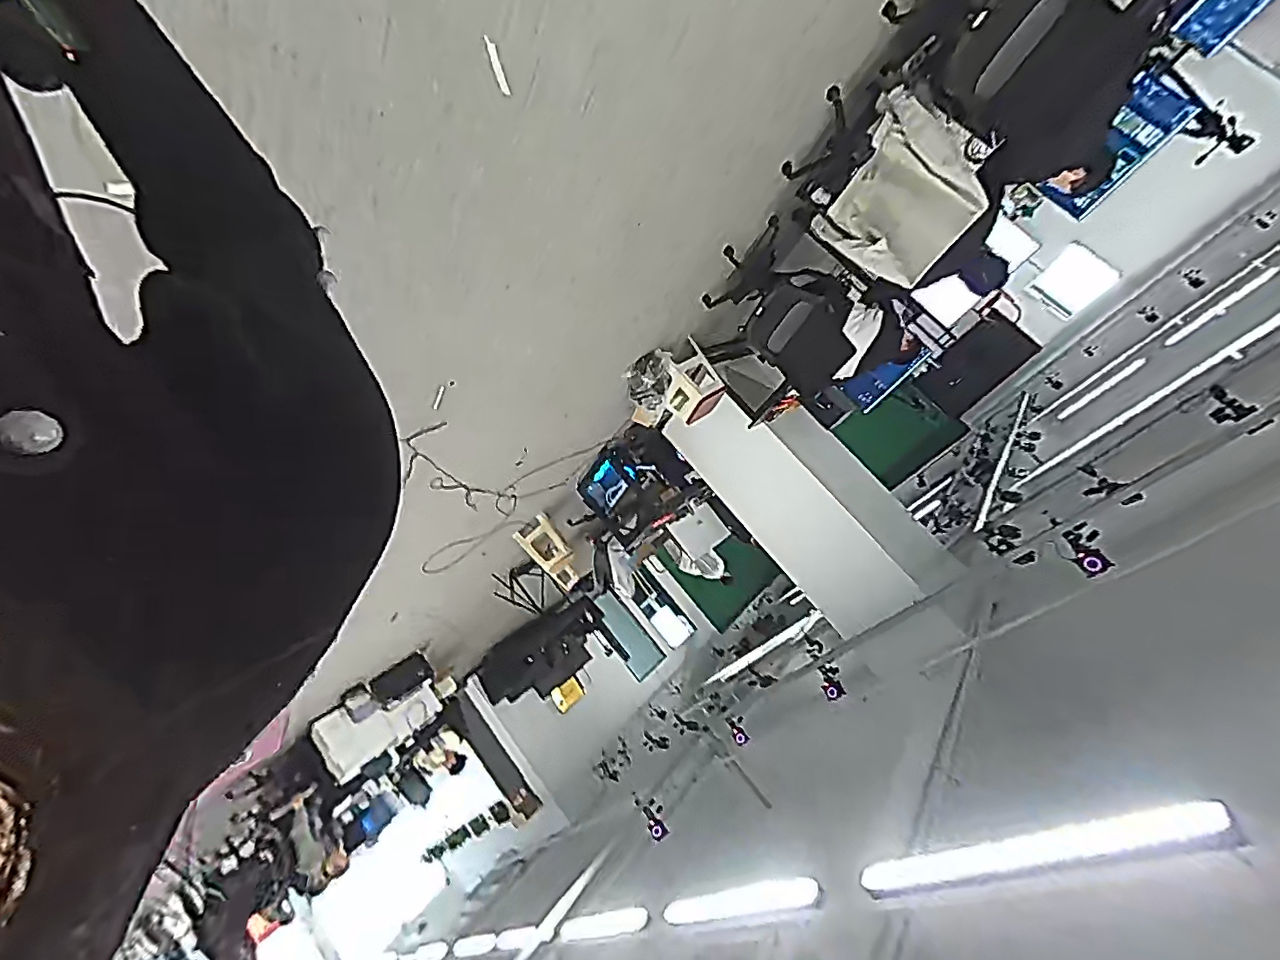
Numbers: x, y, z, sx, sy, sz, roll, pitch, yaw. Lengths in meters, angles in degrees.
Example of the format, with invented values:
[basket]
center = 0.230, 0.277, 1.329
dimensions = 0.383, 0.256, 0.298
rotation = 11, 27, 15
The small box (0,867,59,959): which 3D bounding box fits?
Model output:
[small box]
center = -1.817, 1.252, 1.533
dimensions = 0.179, 0.176, 0.168
rotation = -28, 163, -47
